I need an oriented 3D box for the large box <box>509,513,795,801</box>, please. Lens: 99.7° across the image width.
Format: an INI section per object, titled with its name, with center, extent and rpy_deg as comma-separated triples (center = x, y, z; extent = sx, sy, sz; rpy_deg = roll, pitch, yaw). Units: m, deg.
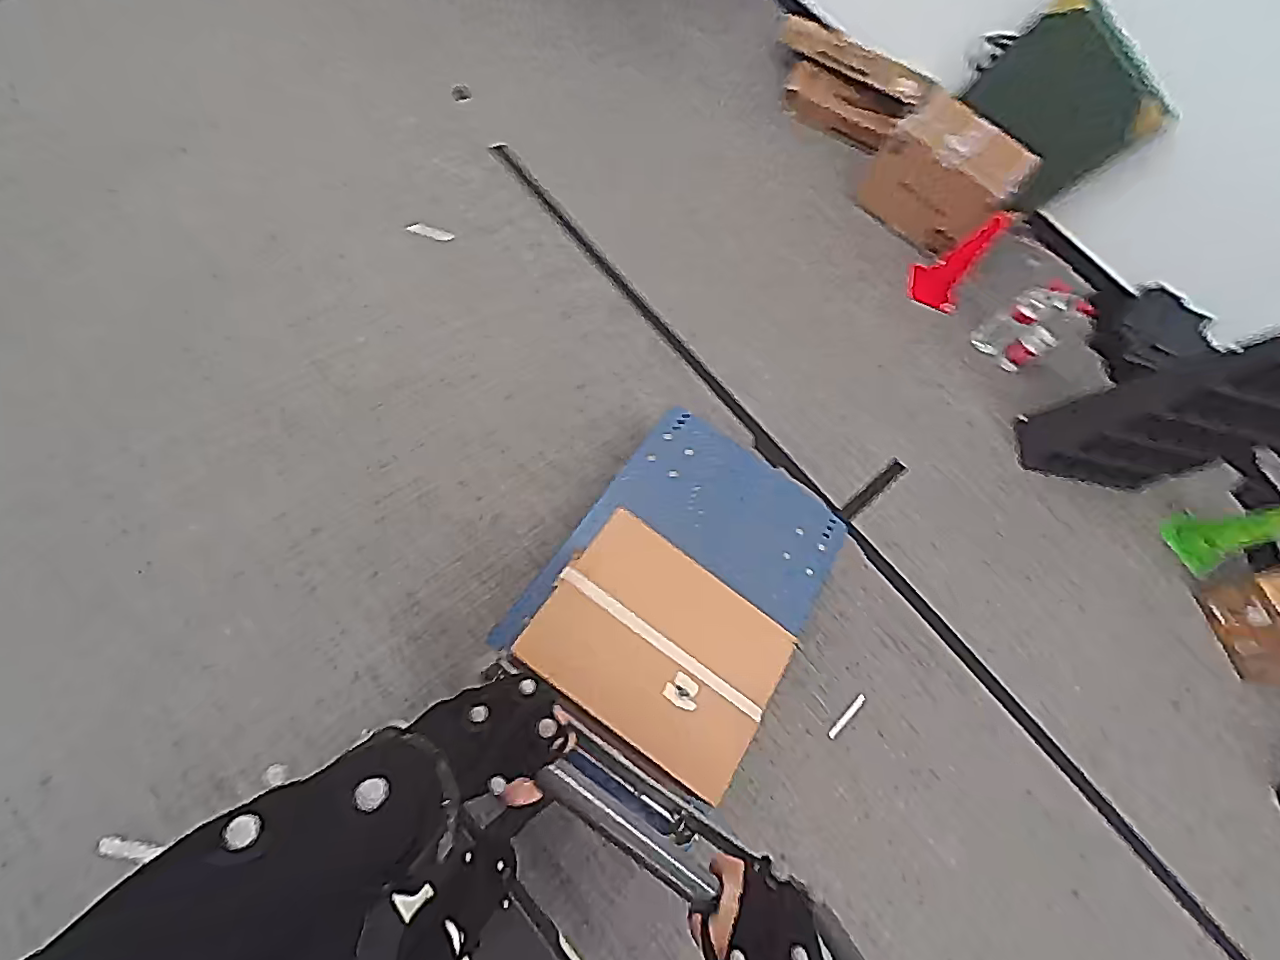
[large box]
center = 0.004, 0.335, 1.047
extent = 0.408, 0.320, 0.320
rpy_deg = 38, 64, 1
